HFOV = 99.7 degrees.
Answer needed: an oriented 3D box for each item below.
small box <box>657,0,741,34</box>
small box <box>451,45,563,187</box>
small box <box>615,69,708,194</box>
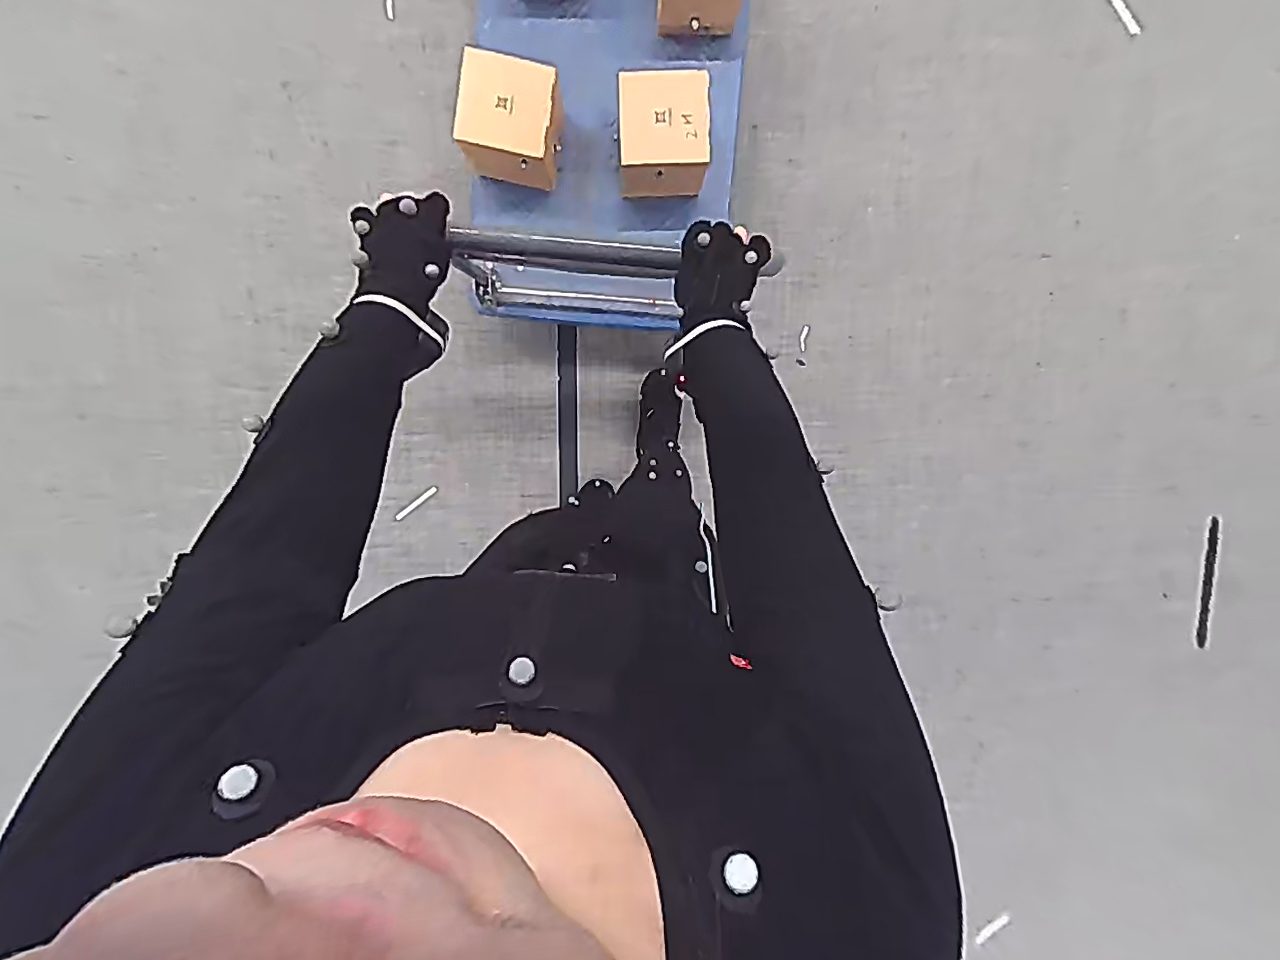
[{"bbox_3d":[0.119,-1.025,1.056,0.168,0.176,0.179,0,100,-1],"label":"small box"},{"bbox_3d":[-0.262,-0.721,1.093,0.179,0.176,0.168,10,98,-5],"label":"small box"},{"bbox_3d":[0.042,-0.700,1.104,0.179,0.176,0.168,-2,99,-1],"label":"small box"}]
